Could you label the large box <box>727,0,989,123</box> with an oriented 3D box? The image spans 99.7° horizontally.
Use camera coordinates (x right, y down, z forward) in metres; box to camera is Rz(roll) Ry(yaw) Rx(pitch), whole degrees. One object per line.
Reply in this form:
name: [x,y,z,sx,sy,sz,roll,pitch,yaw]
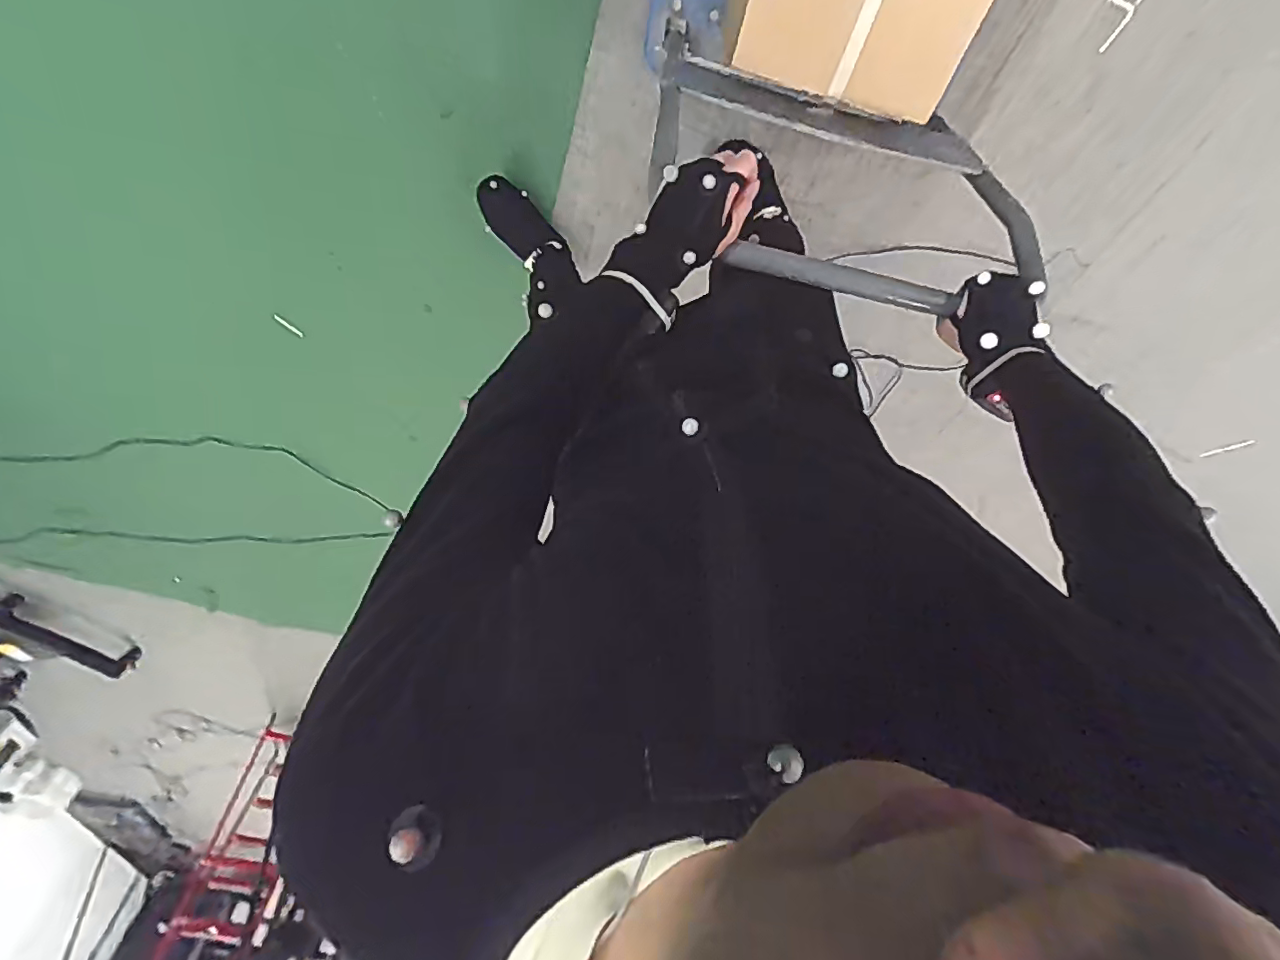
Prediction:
large box: [0.332,-0.801,0.762,0.320,0.320,0.408,11,135,-7]
